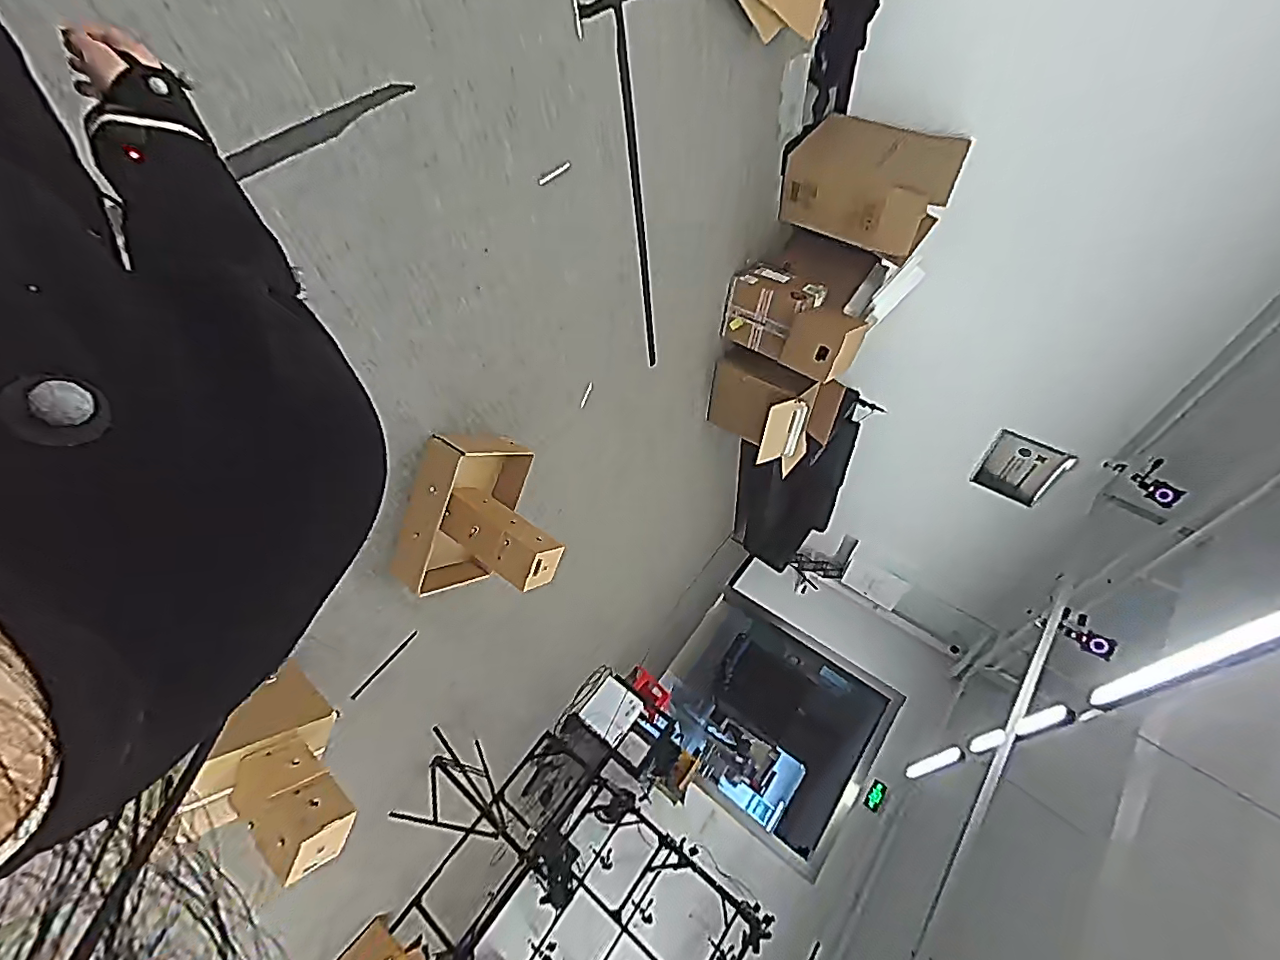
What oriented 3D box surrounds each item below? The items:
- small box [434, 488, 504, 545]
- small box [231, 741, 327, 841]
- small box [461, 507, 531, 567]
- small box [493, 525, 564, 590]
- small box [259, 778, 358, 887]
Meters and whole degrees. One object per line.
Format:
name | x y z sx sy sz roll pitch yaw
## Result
small box | -0.686 0.139 2.168 0.179 0.176 0.168 -1 118 -63
small box | -1.090 0.922 1.629 0.168 0.176 0.179 2 116 -63
small box | -0.558 0.214 2.103 0.179 0.176 0.168 -3 119 -61
small box | -0.424 0.287 2.041 0.179 0.176 0.168 -7 123 -63
small box | -0.962 1.005 1.566 0.168 0.176 0.179 3 114 -62
